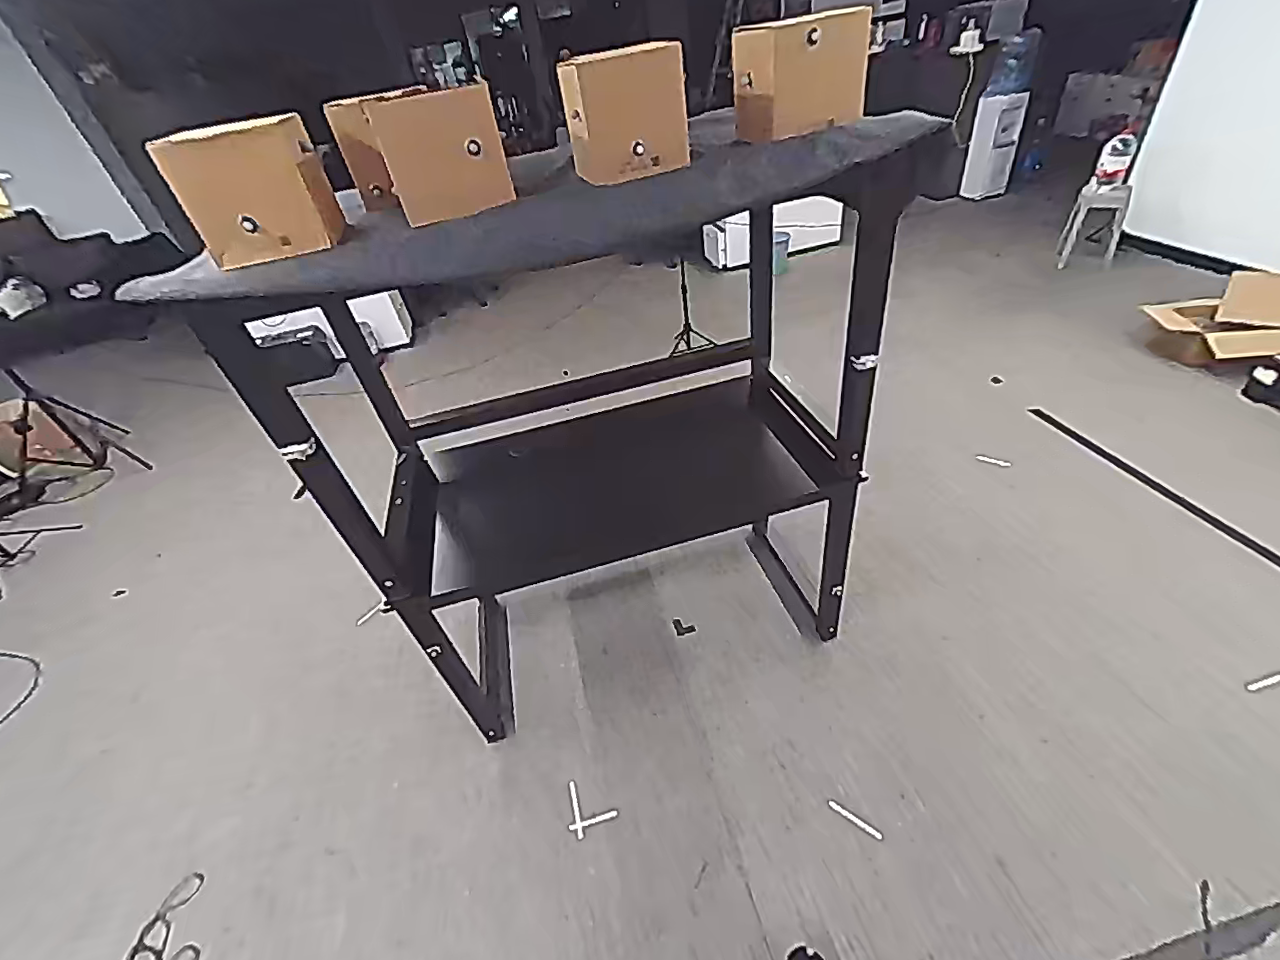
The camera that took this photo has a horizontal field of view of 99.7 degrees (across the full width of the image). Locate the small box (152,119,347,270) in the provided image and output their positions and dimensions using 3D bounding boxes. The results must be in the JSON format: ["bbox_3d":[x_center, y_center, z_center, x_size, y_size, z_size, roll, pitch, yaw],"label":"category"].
[{"bbox_3d":[-0.579,-0.441,0.836,0.168,0.176,0.179,-17,40,-9],"label":"small box"}]

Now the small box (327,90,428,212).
[{"bbox_3d":[-0.462,-0.630,1.040,0.168,0.176,0.179,-15,39,-5],"label":"small box"}]

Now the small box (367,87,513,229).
[{"bbox_3d":[-0.311,-0.523,0.876,0.179,0.176,0.168,-15,37,-9],"label":"small box"}]

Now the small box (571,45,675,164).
[{"bbox_3d":[-0.034,-0.749,1.085,0.168,0.176,0.179,-15,39,-4],"label":"small box"}]
